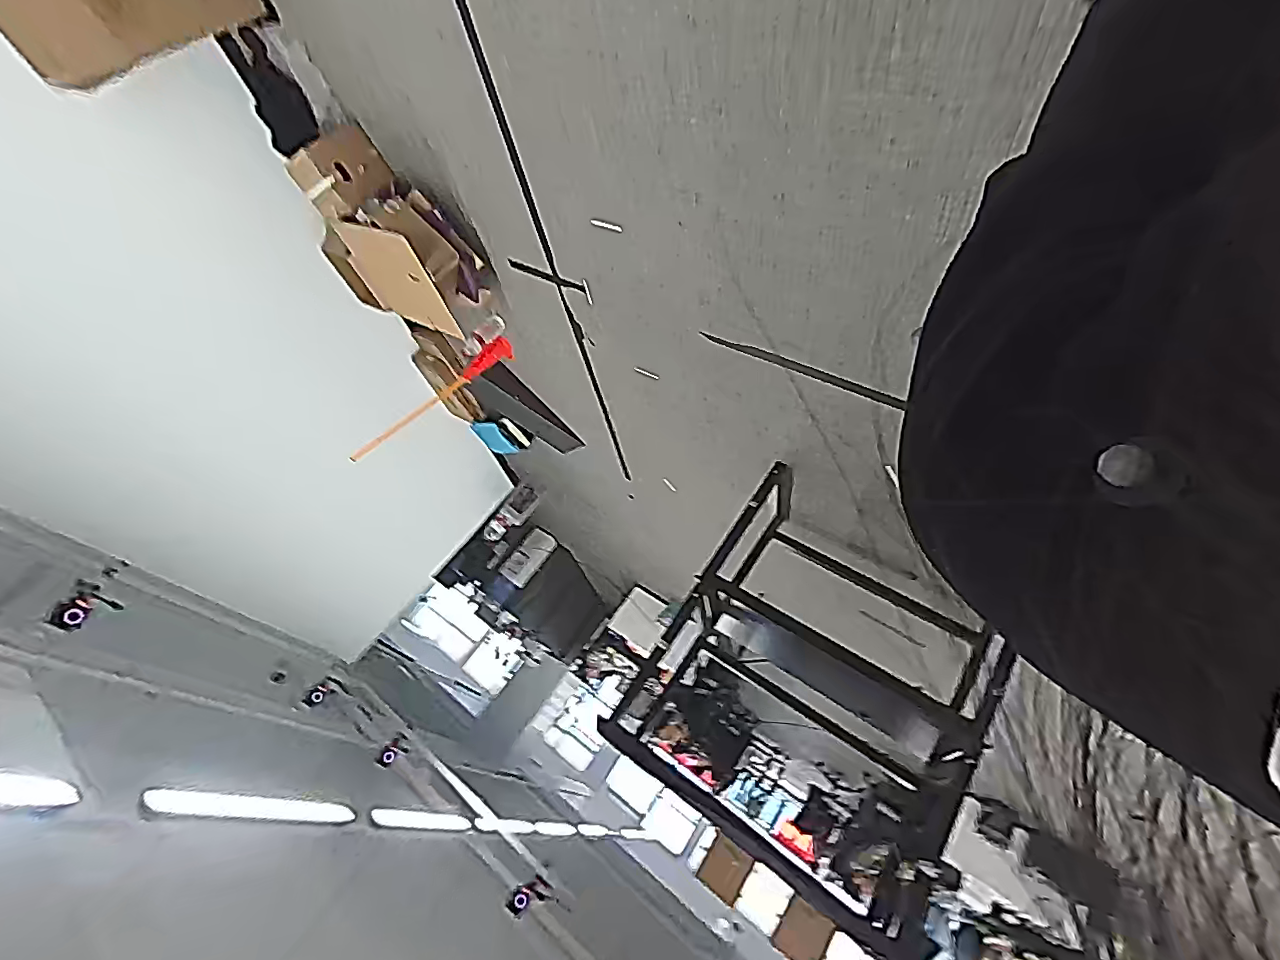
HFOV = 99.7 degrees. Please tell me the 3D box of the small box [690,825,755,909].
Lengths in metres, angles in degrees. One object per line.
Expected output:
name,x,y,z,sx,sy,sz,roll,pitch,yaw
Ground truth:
small box,0.290,1.345,1.895,0.168,0.176,0.179,28,158,23
